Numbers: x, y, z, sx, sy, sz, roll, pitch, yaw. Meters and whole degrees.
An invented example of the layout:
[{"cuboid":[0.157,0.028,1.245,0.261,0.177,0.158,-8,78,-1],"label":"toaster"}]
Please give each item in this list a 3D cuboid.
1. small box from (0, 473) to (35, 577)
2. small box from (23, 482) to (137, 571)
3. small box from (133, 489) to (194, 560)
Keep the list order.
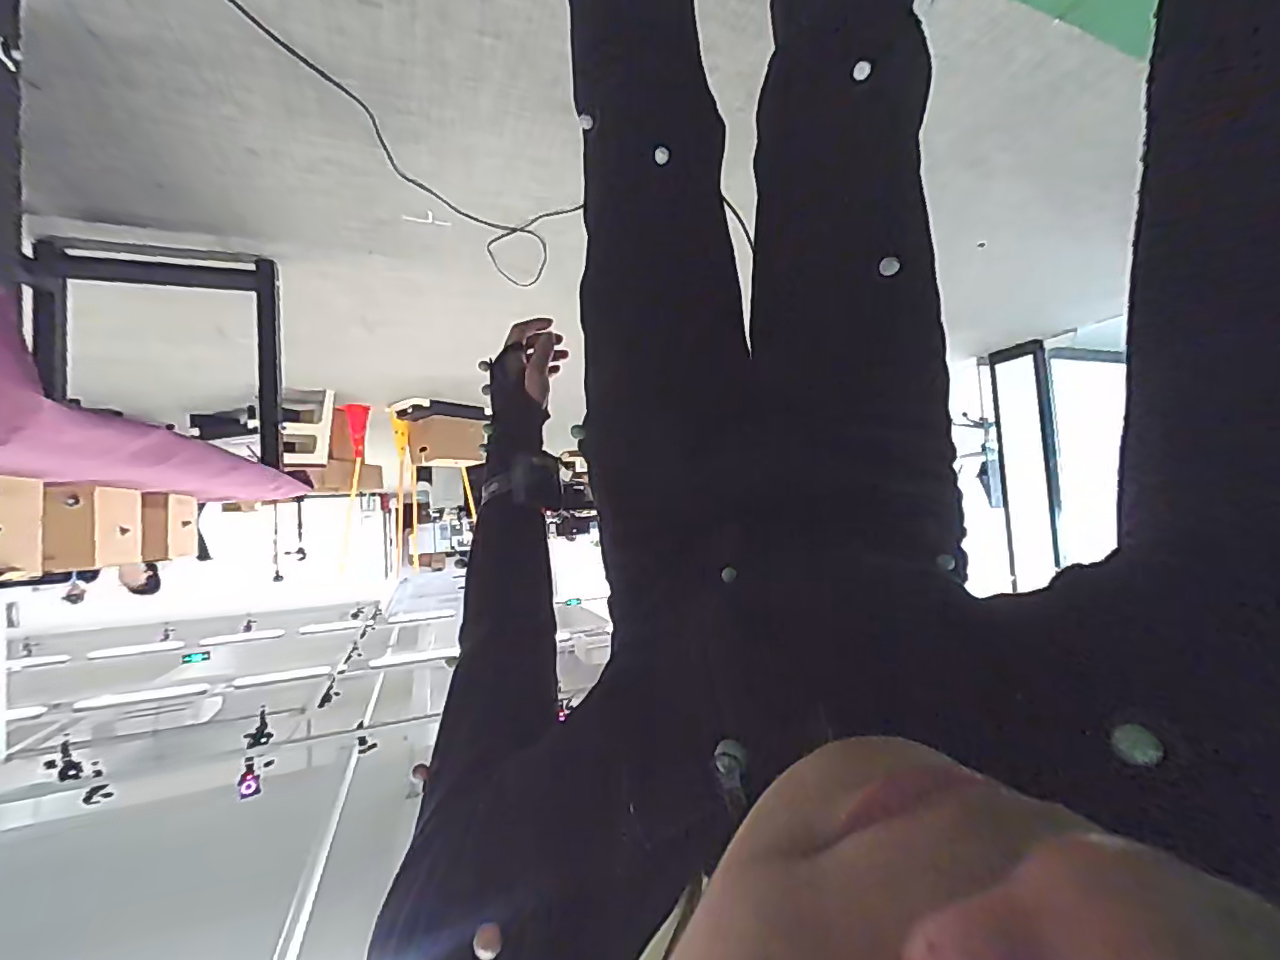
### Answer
[{"cuboid":[-1.064,0.069,0.798,0.179,0.176,0.168,-2,176,-21],"label":"small box"},{"cuboid":[-1.172,0.092,1.098,0.168,0.176,0.179,-2,178,-20],"label":"small box"},{"cuboid":[-1.274,0.114,1.370,0.179,0.176,0.168,-3,176,-20],"label":"small box"}]
